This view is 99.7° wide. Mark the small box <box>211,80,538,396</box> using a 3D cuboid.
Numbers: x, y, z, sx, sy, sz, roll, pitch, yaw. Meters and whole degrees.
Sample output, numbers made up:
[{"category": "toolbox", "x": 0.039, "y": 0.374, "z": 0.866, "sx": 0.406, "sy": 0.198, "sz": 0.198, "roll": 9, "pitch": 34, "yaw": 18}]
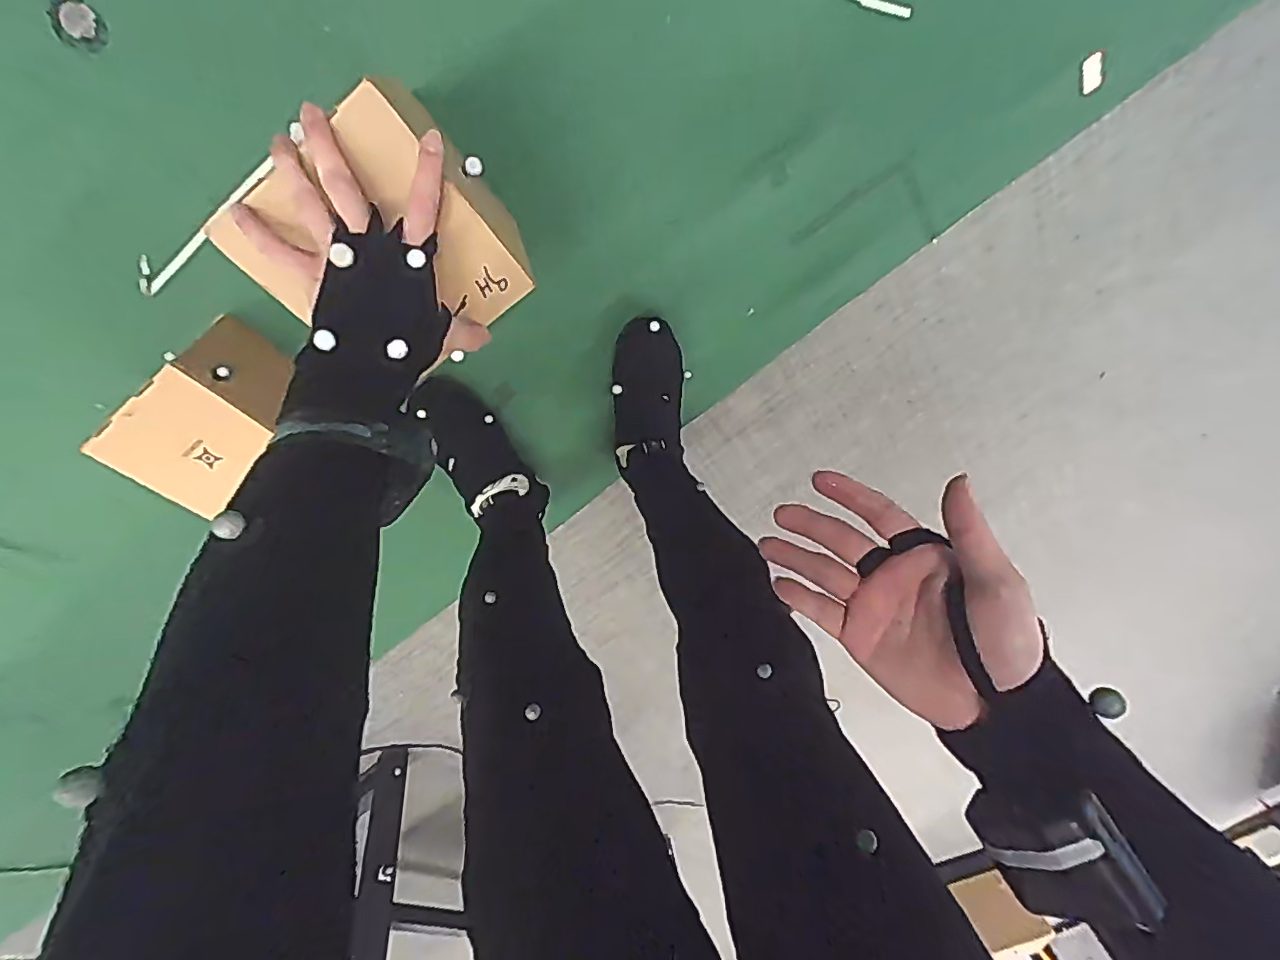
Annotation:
[{"category": "small box", "x": -0.216, "y": -0.214, "z": 0.486, "sx": 0.168, "sy": 0.176, "sz": 0.179, "roll": -35, "pitch": 127, "yaw": 10}]

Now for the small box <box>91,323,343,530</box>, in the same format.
[{"category": "small box", "x": -0.532, "y": -0.074, "z": 0.714, "sx": 0.168, "sy": 0.176, "sz": 0.179, "roll": -36, "pitch": 125, "yaw": 12}]
